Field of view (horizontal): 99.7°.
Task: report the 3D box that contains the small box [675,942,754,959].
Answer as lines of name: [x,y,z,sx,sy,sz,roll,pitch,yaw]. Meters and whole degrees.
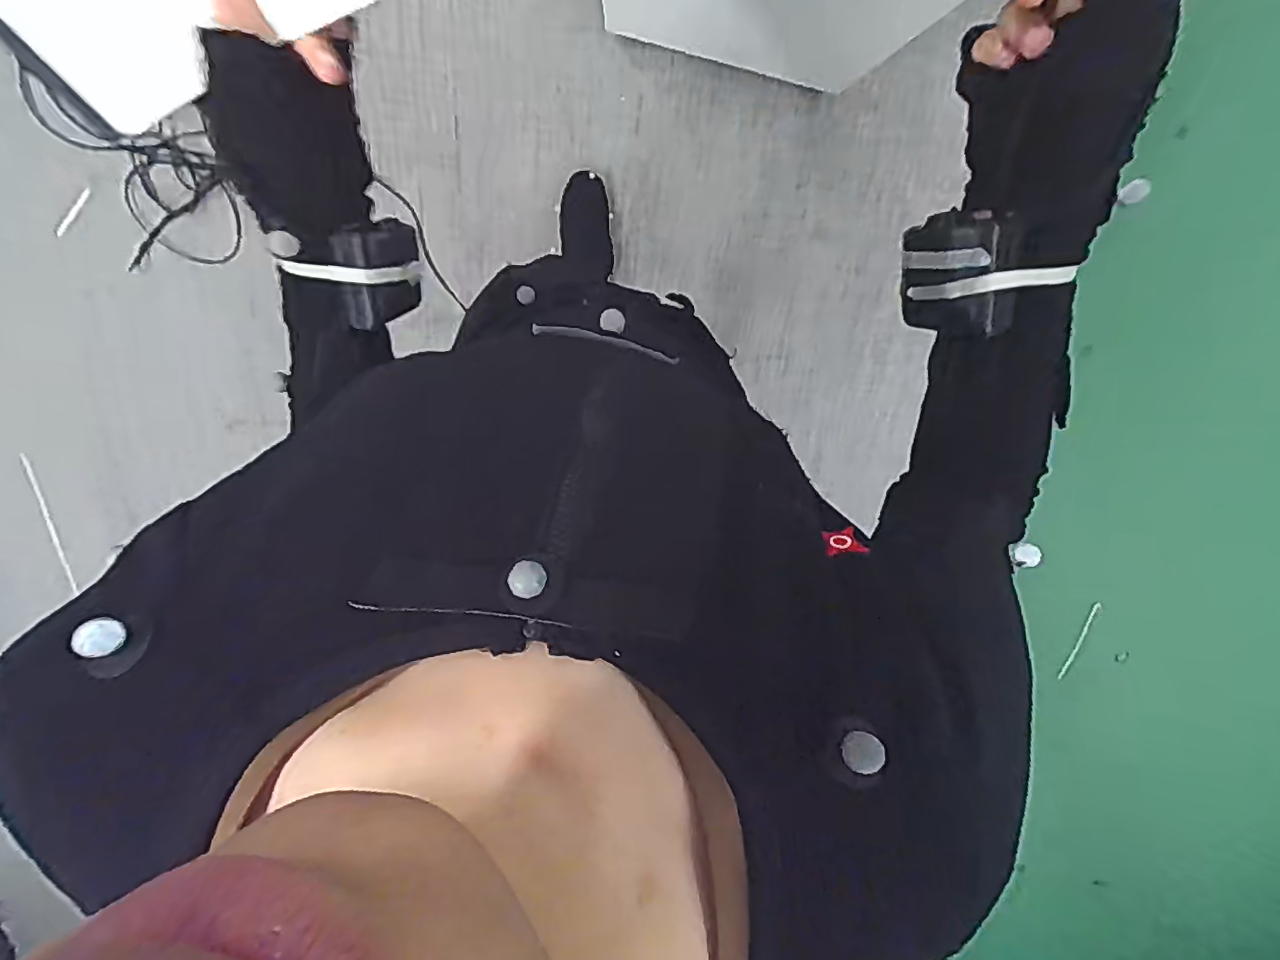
small box: [0.154,1.083,1.091,0.168,0.176,0.179,4,112,-4]
